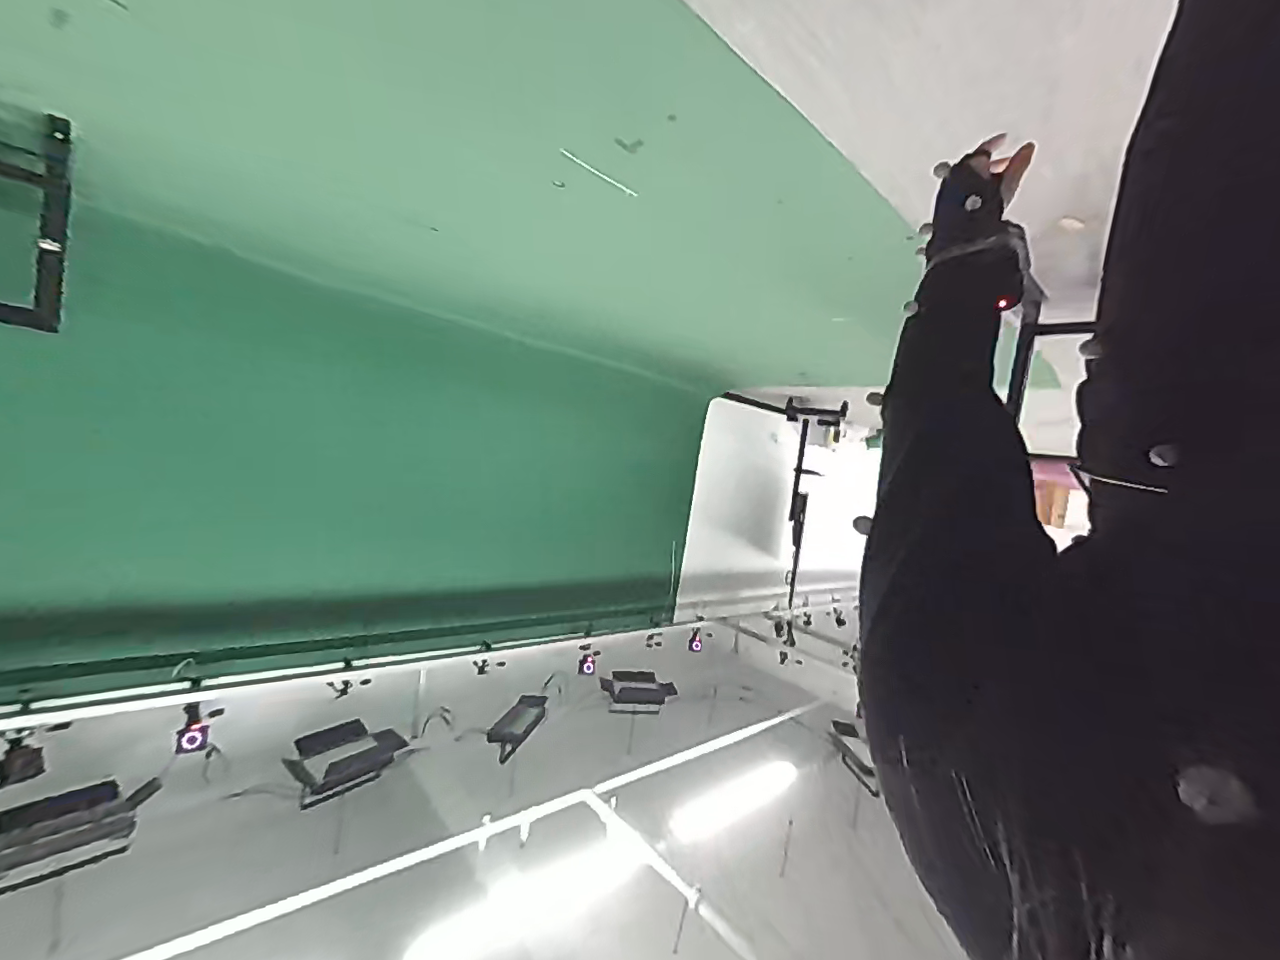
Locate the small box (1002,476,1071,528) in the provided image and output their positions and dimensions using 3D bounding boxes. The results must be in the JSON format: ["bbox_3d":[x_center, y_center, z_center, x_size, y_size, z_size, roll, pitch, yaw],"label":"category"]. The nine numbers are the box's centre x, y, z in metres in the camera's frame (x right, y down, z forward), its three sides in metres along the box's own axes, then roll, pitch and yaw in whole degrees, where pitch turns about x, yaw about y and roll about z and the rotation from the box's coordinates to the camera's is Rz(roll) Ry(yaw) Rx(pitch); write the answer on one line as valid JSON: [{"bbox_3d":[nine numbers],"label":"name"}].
[{"bbox_3d":[1.512,0.083,2.057,0.179,0.176,0.168,9,180,-39],"label":"small box"}]
